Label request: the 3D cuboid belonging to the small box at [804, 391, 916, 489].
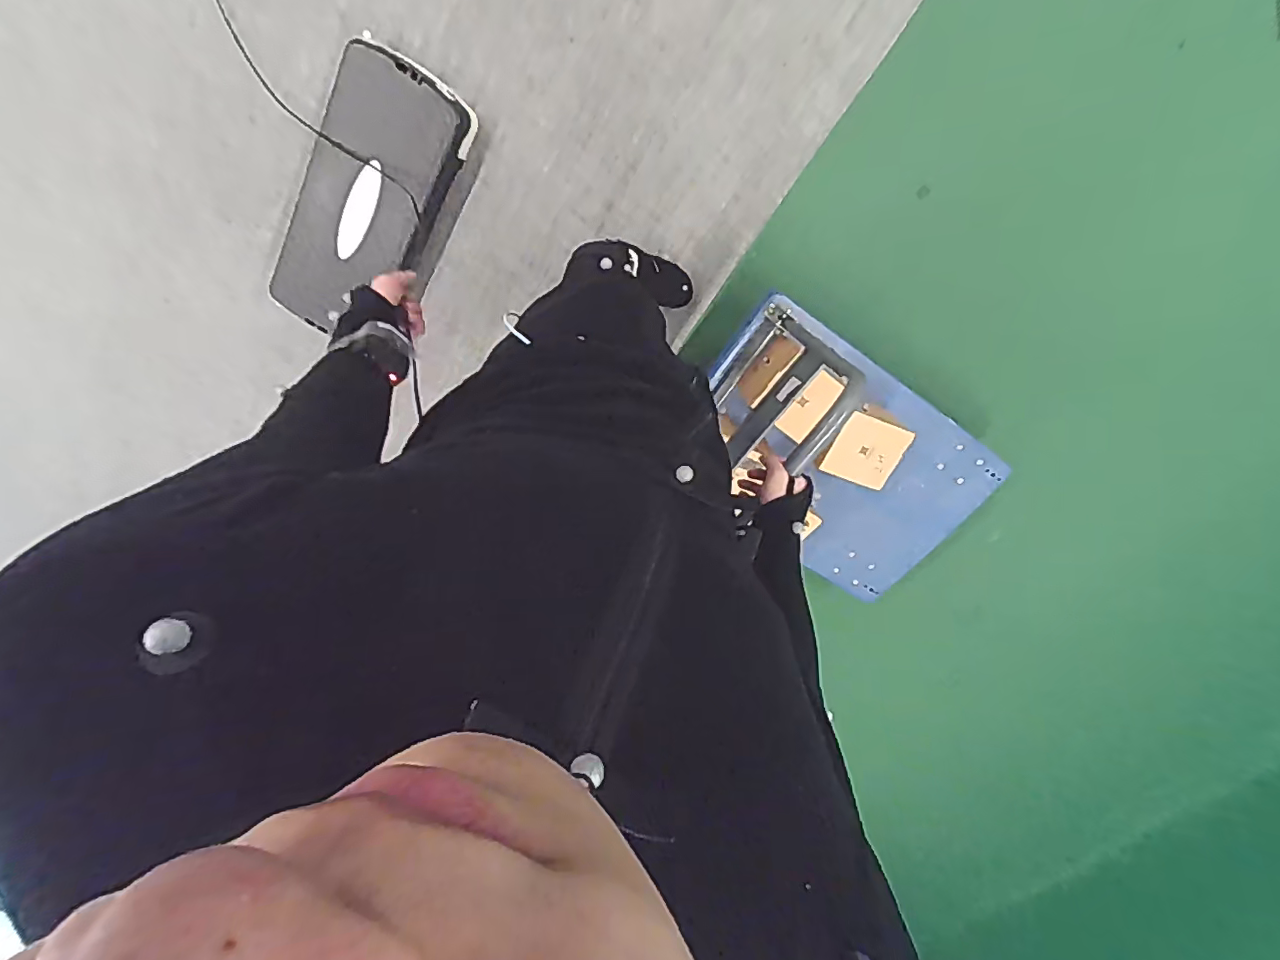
[{"bbox_3d":[0.542,-0.108,1.362,0.179,0.176,0.168,19,116,-9],"label":"small box"}]
